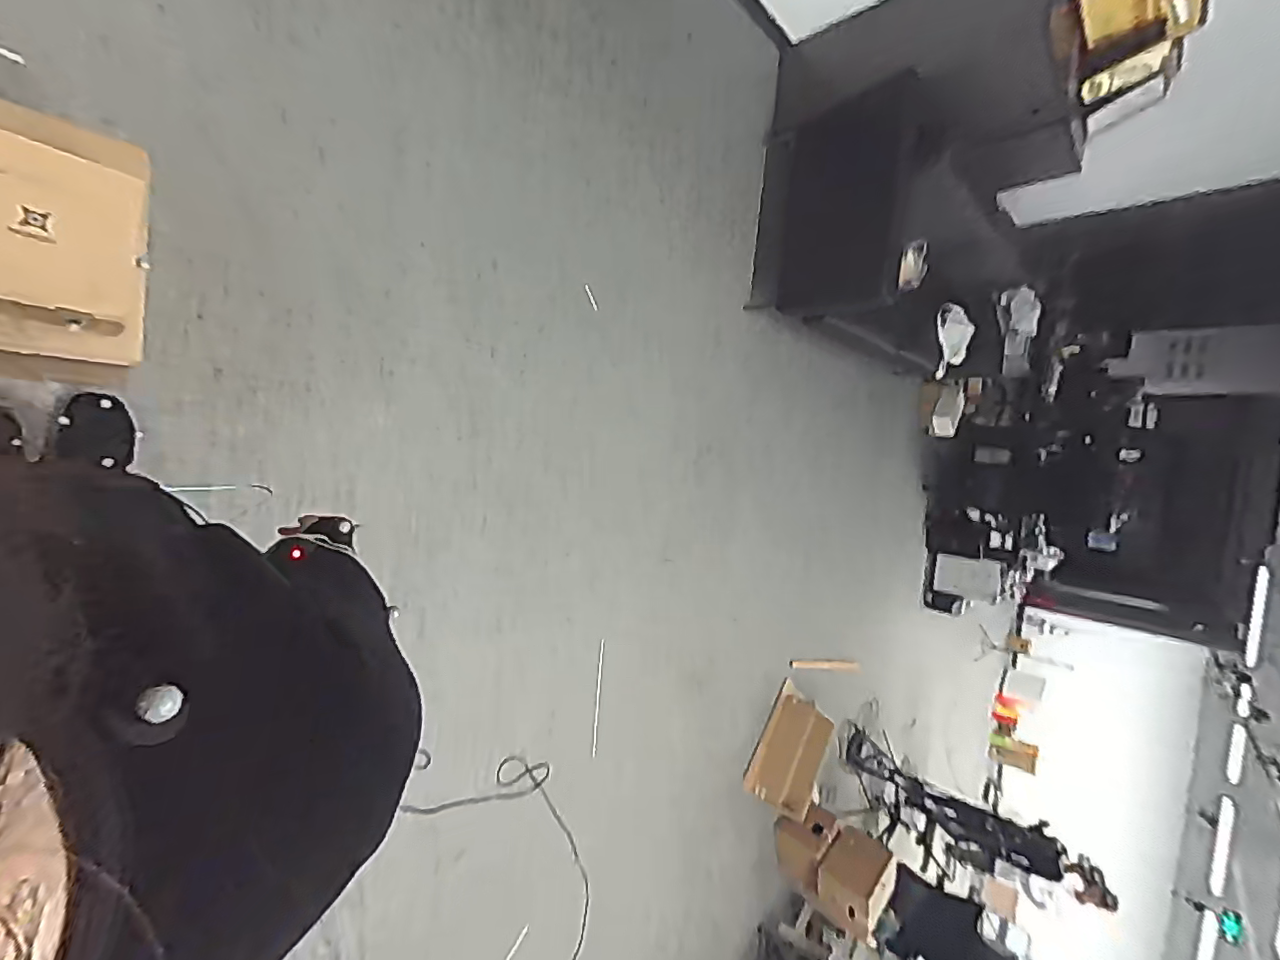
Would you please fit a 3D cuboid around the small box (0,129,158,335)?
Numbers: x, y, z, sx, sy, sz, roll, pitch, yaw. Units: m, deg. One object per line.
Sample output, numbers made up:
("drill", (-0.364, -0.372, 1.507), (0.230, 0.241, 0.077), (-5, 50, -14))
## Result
("small box", (-0.704, -0.284, 0.651), (0.168, 0.176, 0.179), (7, 90, -45))
